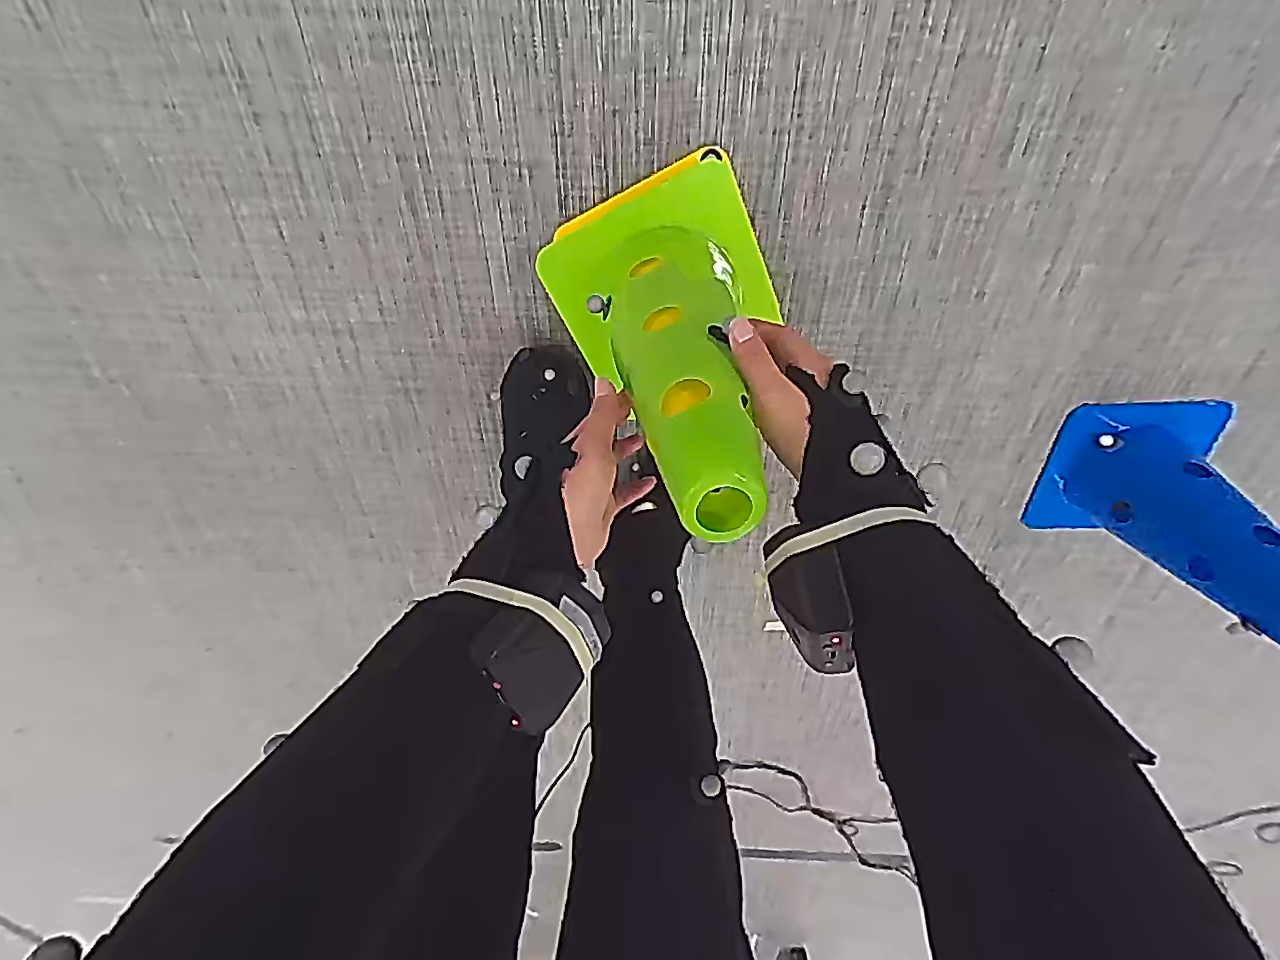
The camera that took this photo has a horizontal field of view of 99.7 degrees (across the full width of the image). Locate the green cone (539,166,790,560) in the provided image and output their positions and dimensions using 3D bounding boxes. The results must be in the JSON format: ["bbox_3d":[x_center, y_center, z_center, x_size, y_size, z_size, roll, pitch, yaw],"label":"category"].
[{"bbox_3d":[0.032,-0.078,0.389,0.202,0.368,0.200,-24,119,13],"label":"green cone"}]
